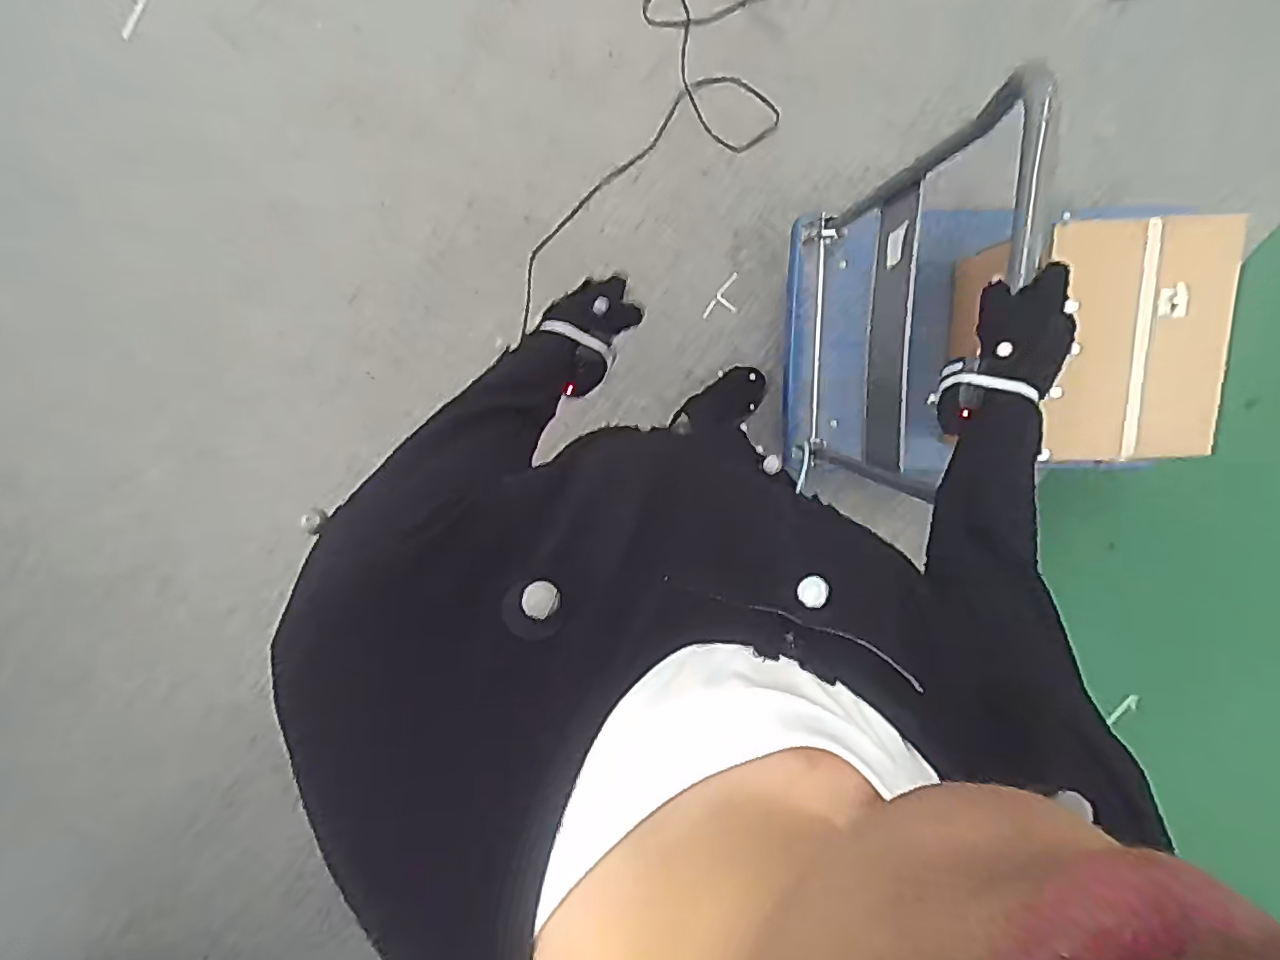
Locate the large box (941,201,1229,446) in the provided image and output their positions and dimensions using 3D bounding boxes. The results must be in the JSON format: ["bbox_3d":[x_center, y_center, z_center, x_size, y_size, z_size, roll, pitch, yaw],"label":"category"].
[{"bbox_3d":[0.841,-0.287,1.082,0.320,0.320,0.408,-2,100,1],"label":"large box"}]
